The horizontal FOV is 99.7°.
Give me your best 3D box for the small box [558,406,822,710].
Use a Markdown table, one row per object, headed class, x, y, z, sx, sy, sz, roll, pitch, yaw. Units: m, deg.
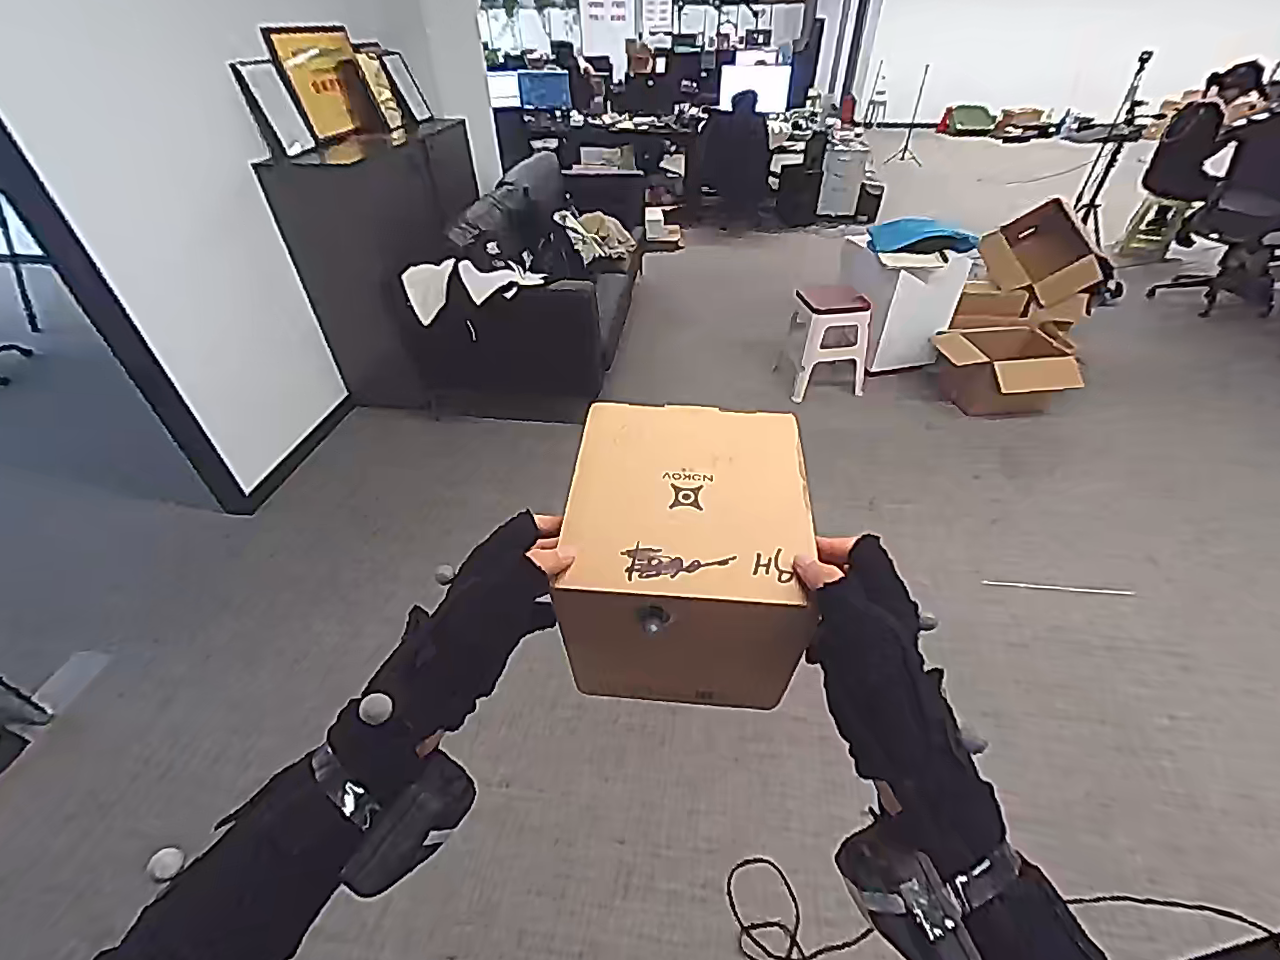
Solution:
| class | x | y | z | sx | sy | sz | roll | pitch | yaw |
| --- | --- | --- | --- | --- | --- | --- | --- | --- | --- |
| small box | 0.038 | 0.062 | 0.443 | 0.168 | 0.176 | 0.179 | 3 | 47 | 5 |
